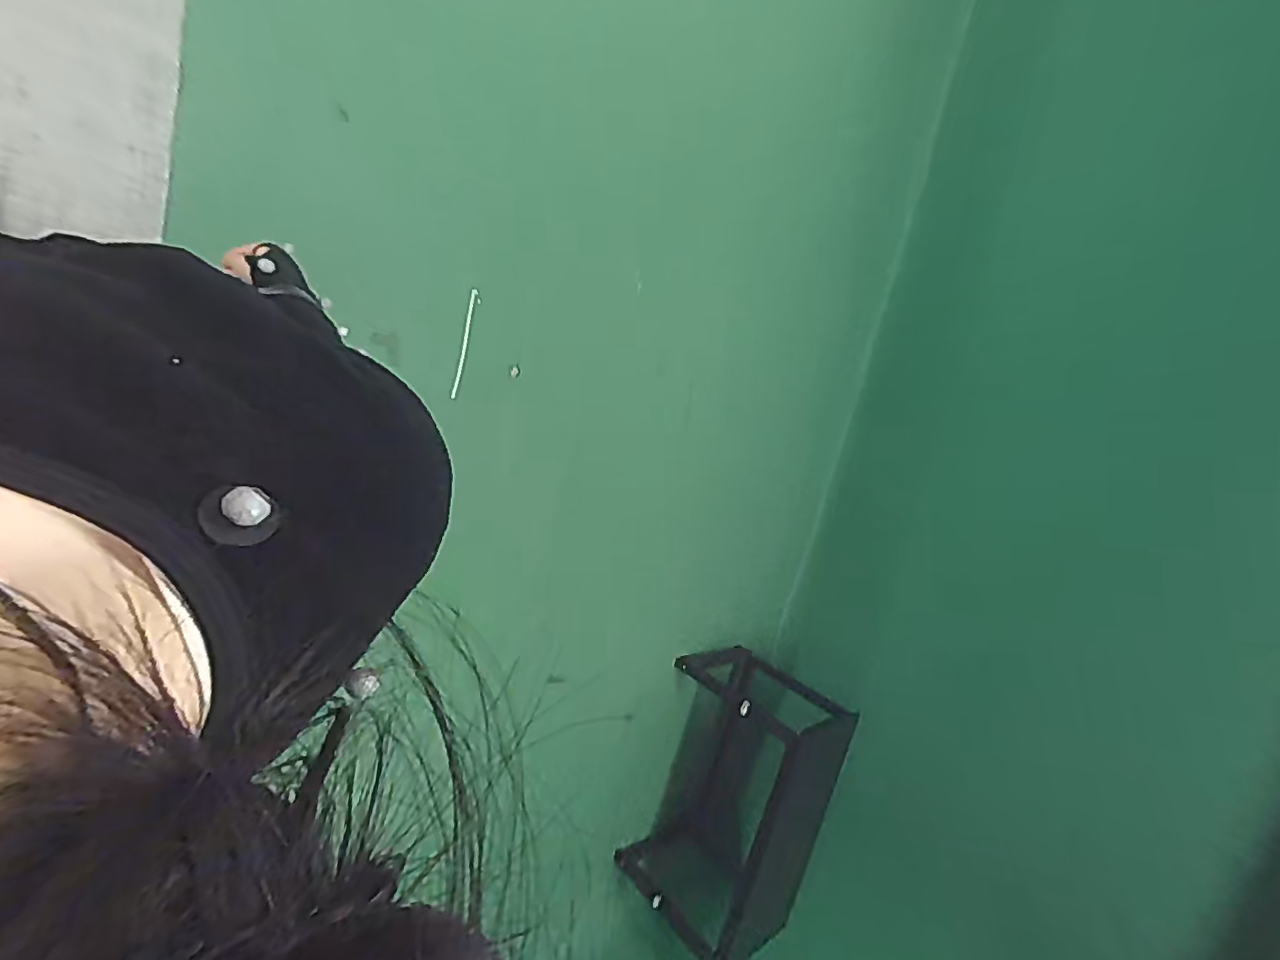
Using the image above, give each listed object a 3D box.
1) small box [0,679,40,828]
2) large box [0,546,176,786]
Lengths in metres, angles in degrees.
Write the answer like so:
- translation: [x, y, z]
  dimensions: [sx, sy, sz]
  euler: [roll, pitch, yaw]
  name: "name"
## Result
- translation: [-1.031, 0.420, 0.797]
  dimensions: [0.168, 0.176, 0.179]
  euler: [-13, 114, -40]
  name: "small box"
- translation: [-1.165, 0.359, 0.998]
  dimensions: [0.408, 0.320, 0.320]
  euler: [-14, 117, -41]
  name: "large box"
